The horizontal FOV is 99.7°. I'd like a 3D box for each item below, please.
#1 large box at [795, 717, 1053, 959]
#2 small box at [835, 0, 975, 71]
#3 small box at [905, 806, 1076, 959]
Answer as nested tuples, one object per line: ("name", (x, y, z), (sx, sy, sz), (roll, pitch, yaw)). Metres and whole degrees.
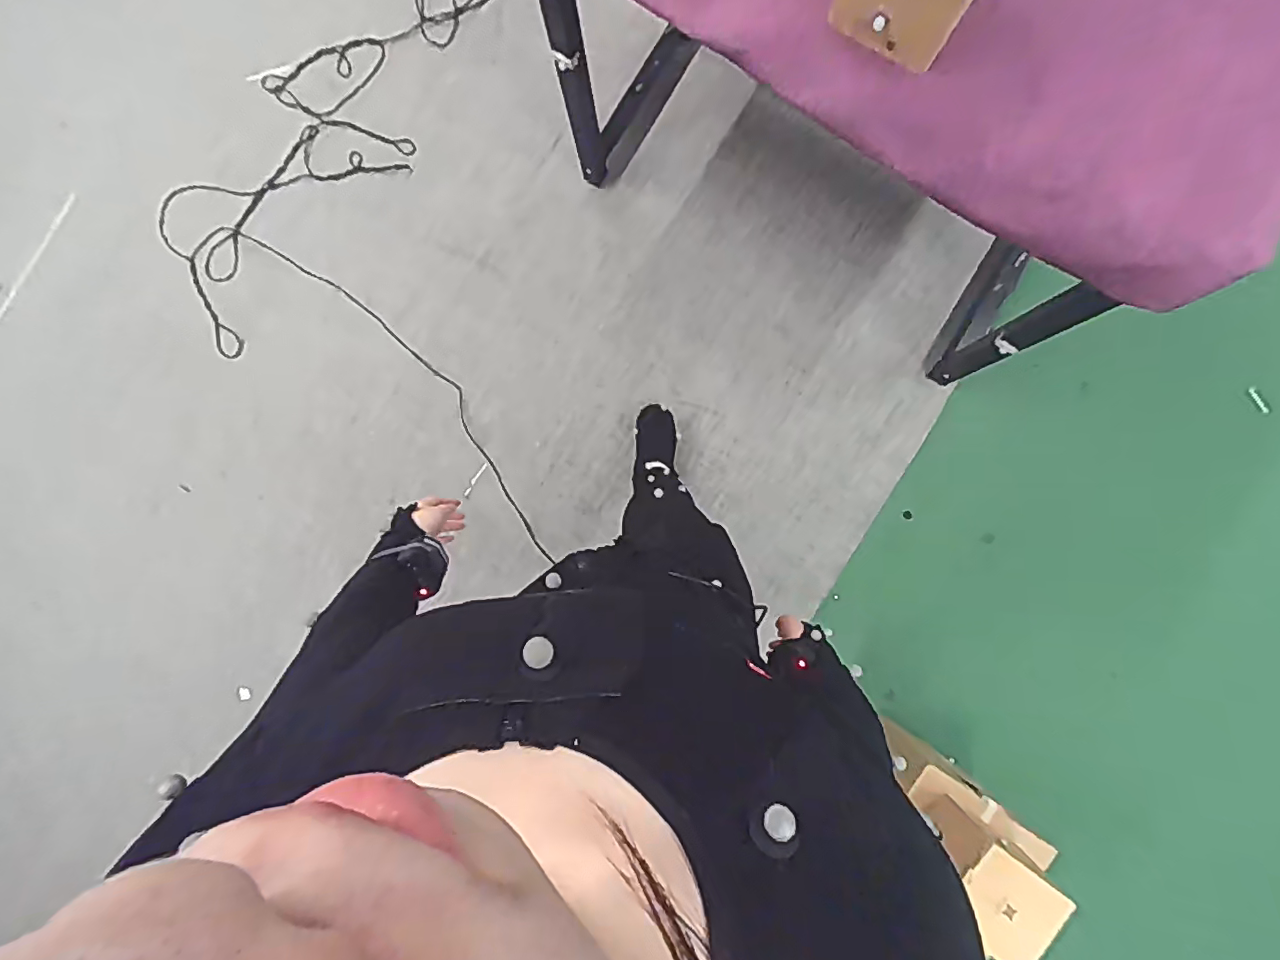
("large box", (0.628, 0.856, 1.265), (0.320, 0.320, 0.408), (34, 90, 5))
("small box", (0.385, -0.703, 0.707), (0.168, 0.176, 0.179), (33, 89, 5))
("small box", (0.648, 0.769, 1.024), (0.179, 0.176, 0.168), (36, 90, 5))
